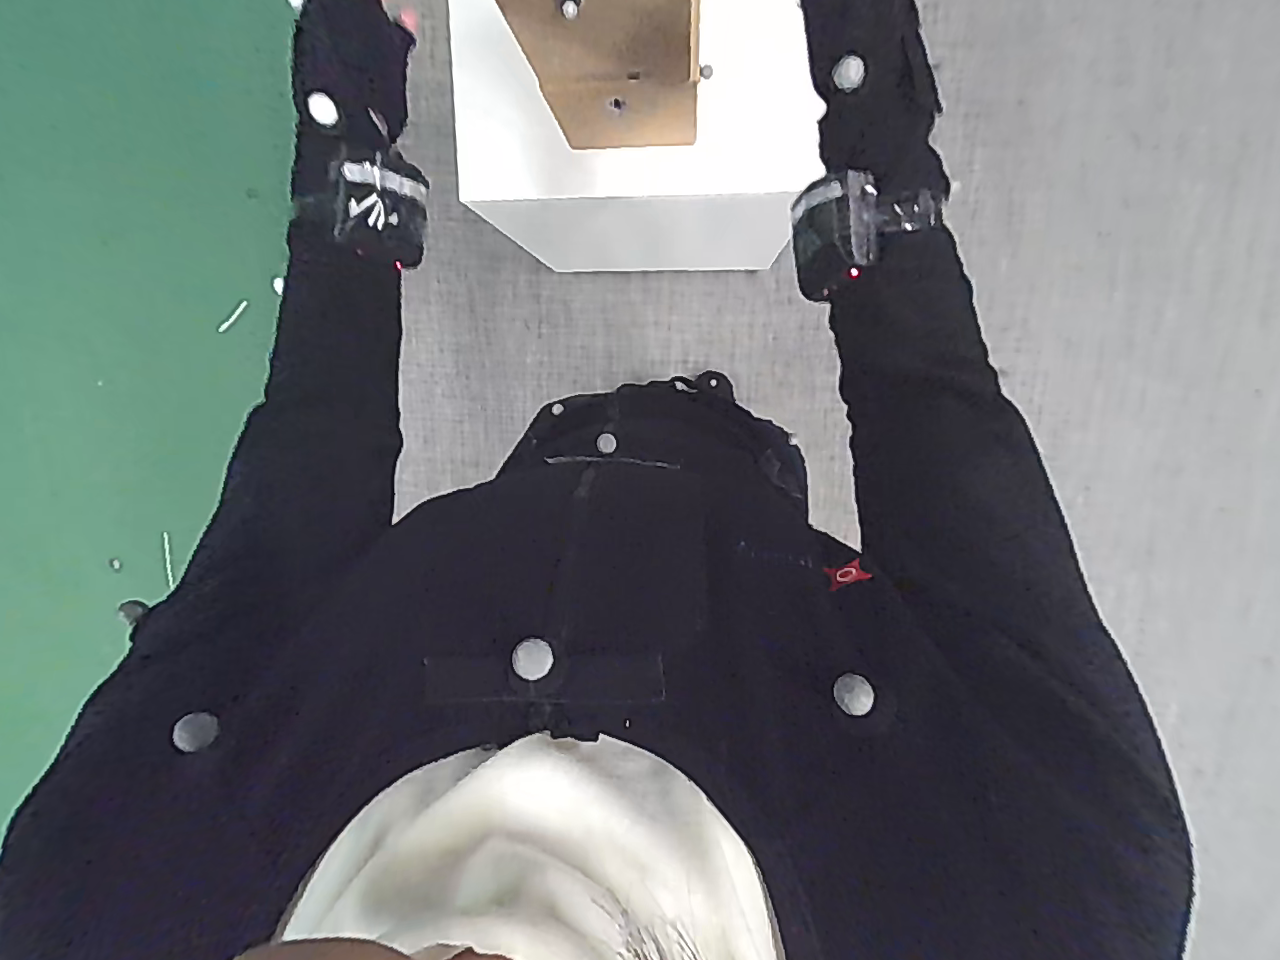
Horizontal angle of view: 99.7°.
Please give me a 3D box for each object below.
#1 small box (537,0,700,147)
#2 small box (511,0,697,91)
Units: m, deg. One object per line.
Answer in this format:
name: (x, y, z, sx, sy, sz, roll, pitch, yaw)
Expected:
small box: (-0.018, -0.522, 0.650, 0.179, 0.176, 0.168, 1, 101, 5)
small box: (-0.031, -0.495, 0.492, 0.168, 0.176, 0.179, 0, 102, 5)
